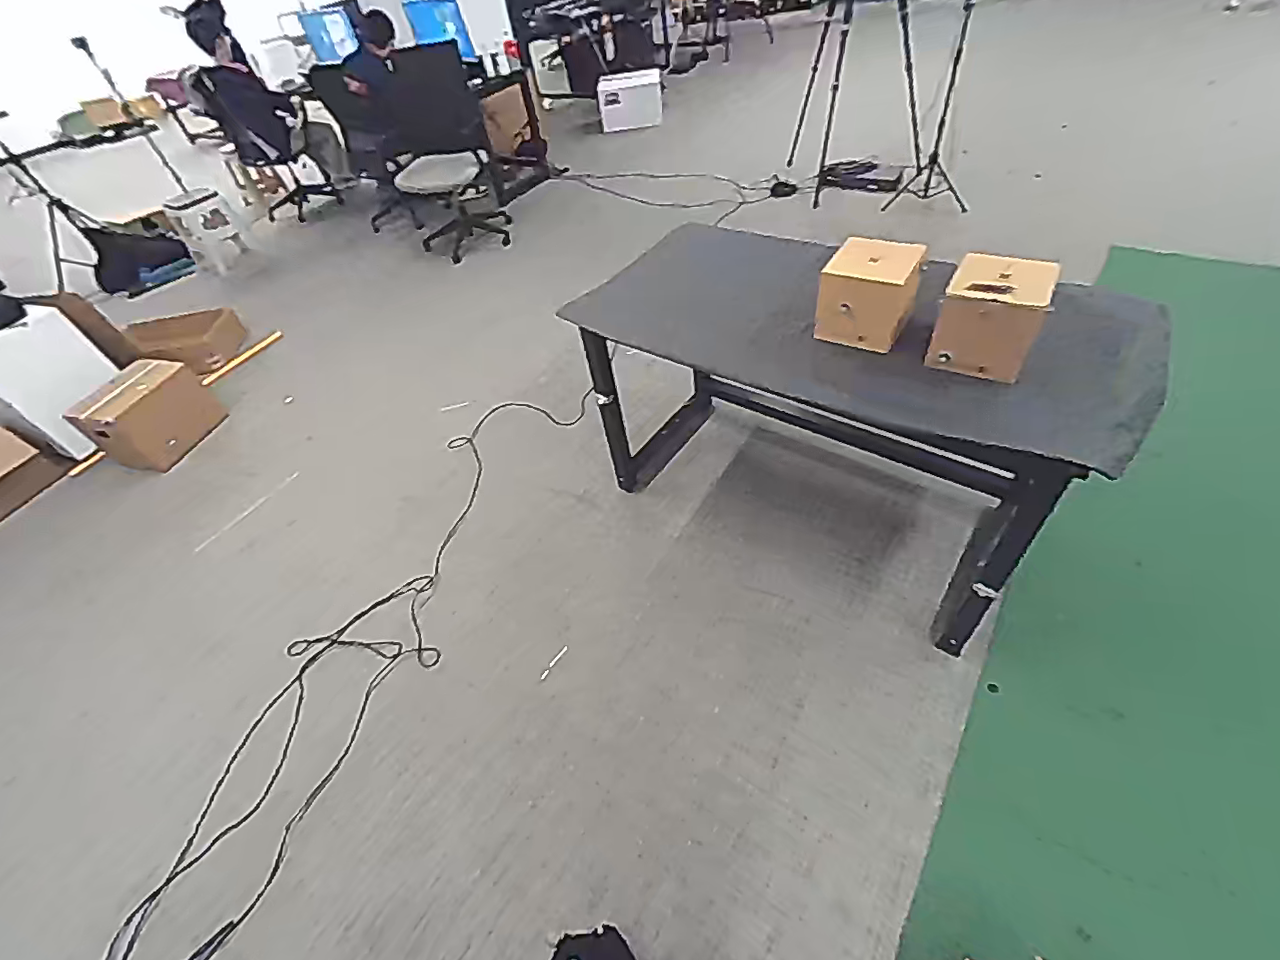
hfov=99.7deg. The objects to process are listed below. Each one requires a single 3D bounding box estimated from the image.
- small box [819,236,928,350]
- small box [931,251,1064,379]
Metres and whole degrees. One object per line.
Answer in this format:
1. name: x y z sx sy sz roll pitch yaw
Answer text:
1. small box: 0.506 -0.410 1.188 0.168 0.176 0.179 22 54 28
2. small box: 0.697 -0.325 1.070 0.168 0.176 0.179 22 54 27
